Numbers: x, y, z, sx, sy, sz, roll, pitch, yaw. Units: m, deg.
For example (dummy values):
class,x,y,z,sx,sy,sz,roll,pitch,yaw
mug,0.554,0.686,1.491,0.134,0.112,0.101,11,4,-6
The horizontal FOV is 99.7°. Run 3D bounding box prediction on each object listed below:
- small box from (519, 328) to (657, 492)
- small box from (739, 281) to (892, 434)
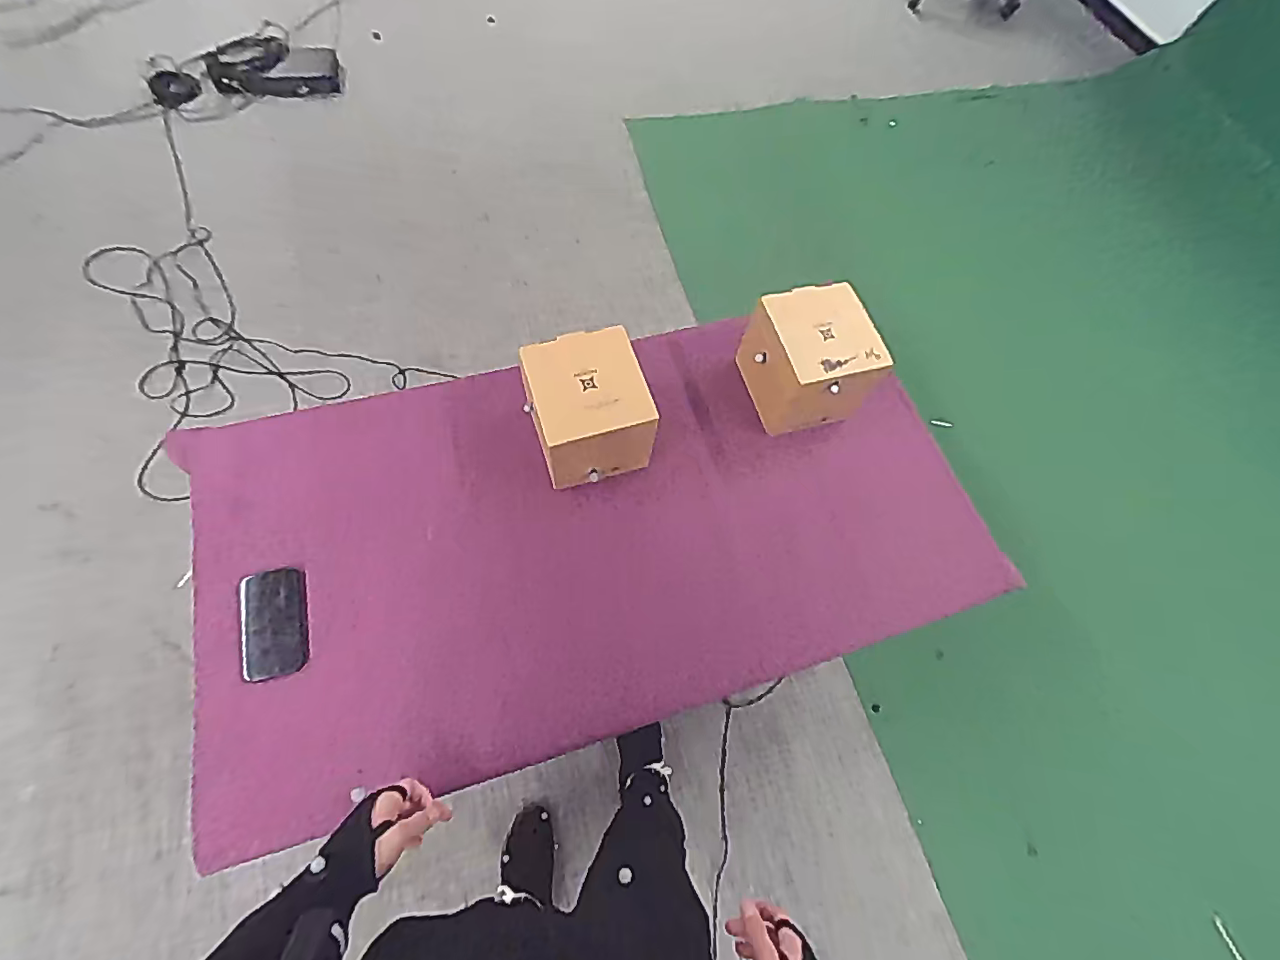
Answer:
class,x,y,z,sx,sy,sz,roll,pitch,yaw
small box,-0.084,-0.106,0.856,0.168,0.176,0.179,-16,69,-10
small box,0.285,-0.206,0.926,0.168,0.176,0.179,-14,67,-9
